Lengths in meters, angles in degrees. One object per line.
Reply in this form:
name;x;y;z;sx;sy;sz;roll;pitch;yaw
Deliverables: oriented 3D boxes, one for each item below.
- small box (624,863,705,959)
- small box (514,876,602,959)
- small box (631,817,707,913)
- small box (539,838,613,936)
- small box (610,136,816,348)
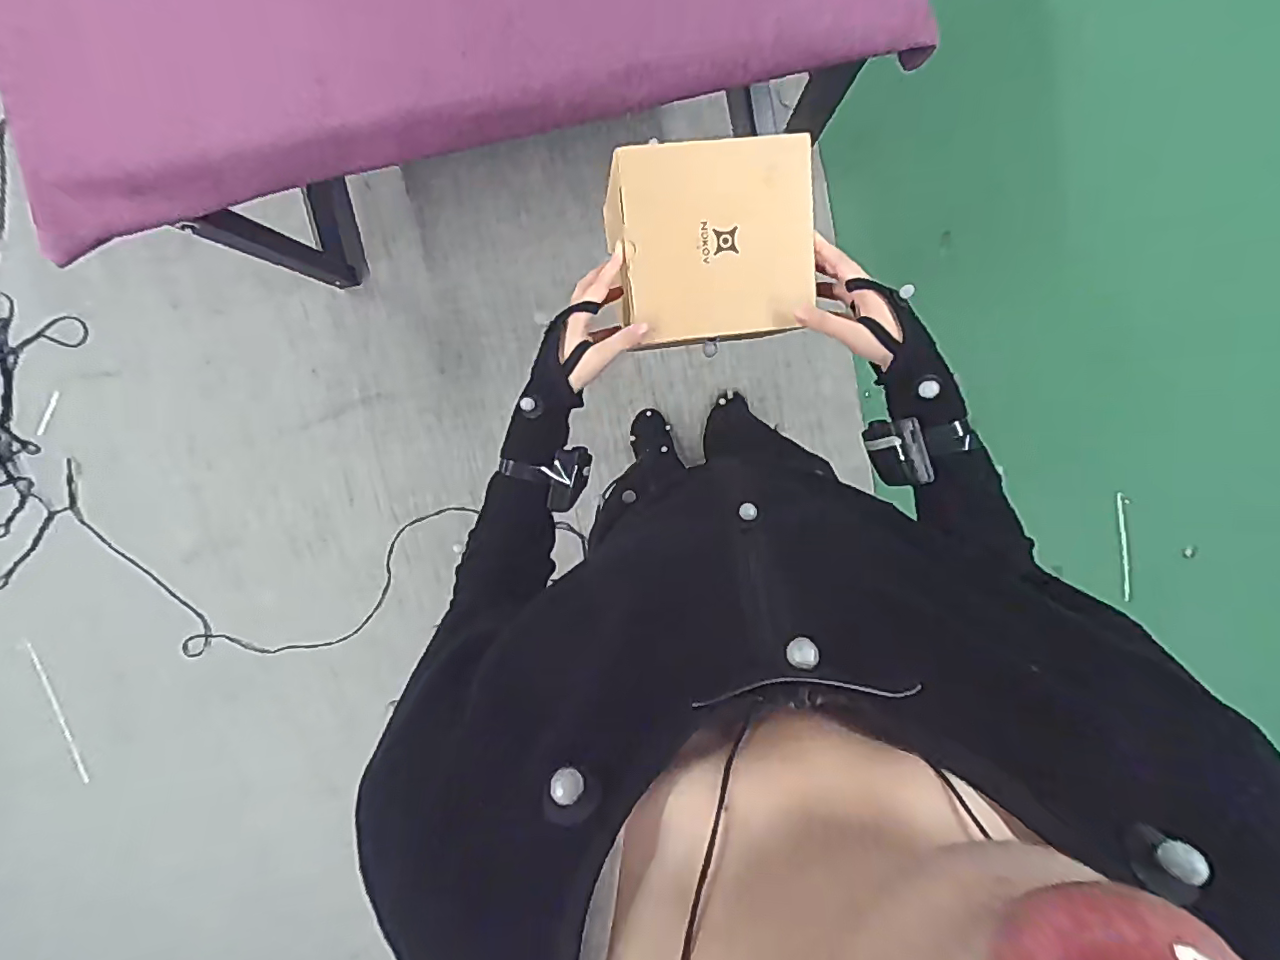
small box;0.061;1.103;1.359;0.168;0.176;0.179;-13;96;4
small box;-0.198;1.161;1.372;0.168;0.176;0.179;-15;97;3
small box;0.078;1.090;1.521;0.179;0.176;0.168;-17;95;5
small box;-0.182;1.163;1.536;0.179;0.176;0.168;-18;95;5
small box;0.066;-0.231;0.565;0.179;0.176;0.168;-7;101;-3
